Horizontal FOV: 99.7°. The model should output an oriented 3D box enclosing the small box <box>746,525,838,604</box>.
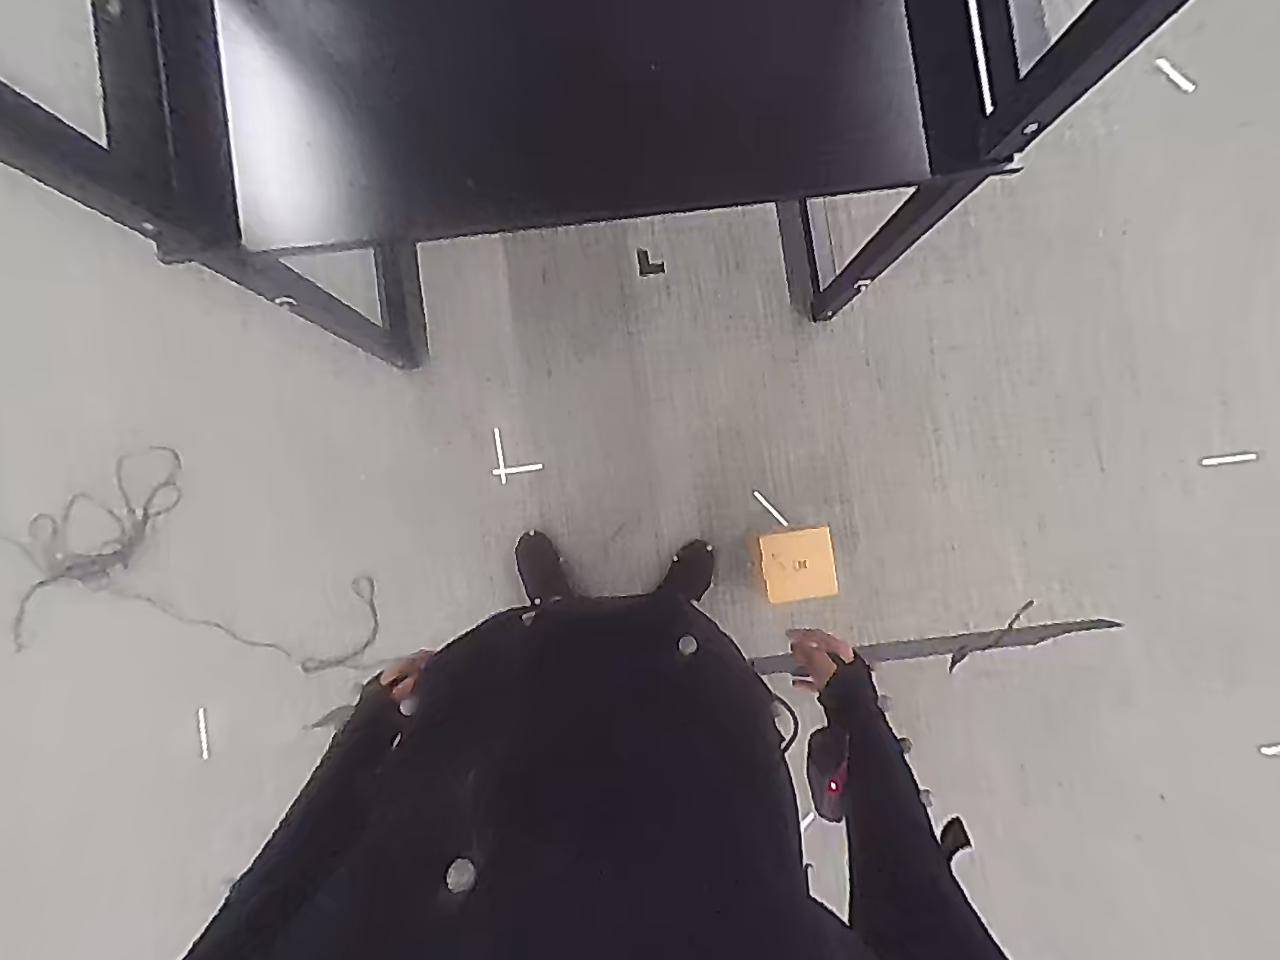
[{"bbox_3d":[0.384,0.211,1.385,0.179,0.176,0.168,-8,89,0],"label":"small box"}]
